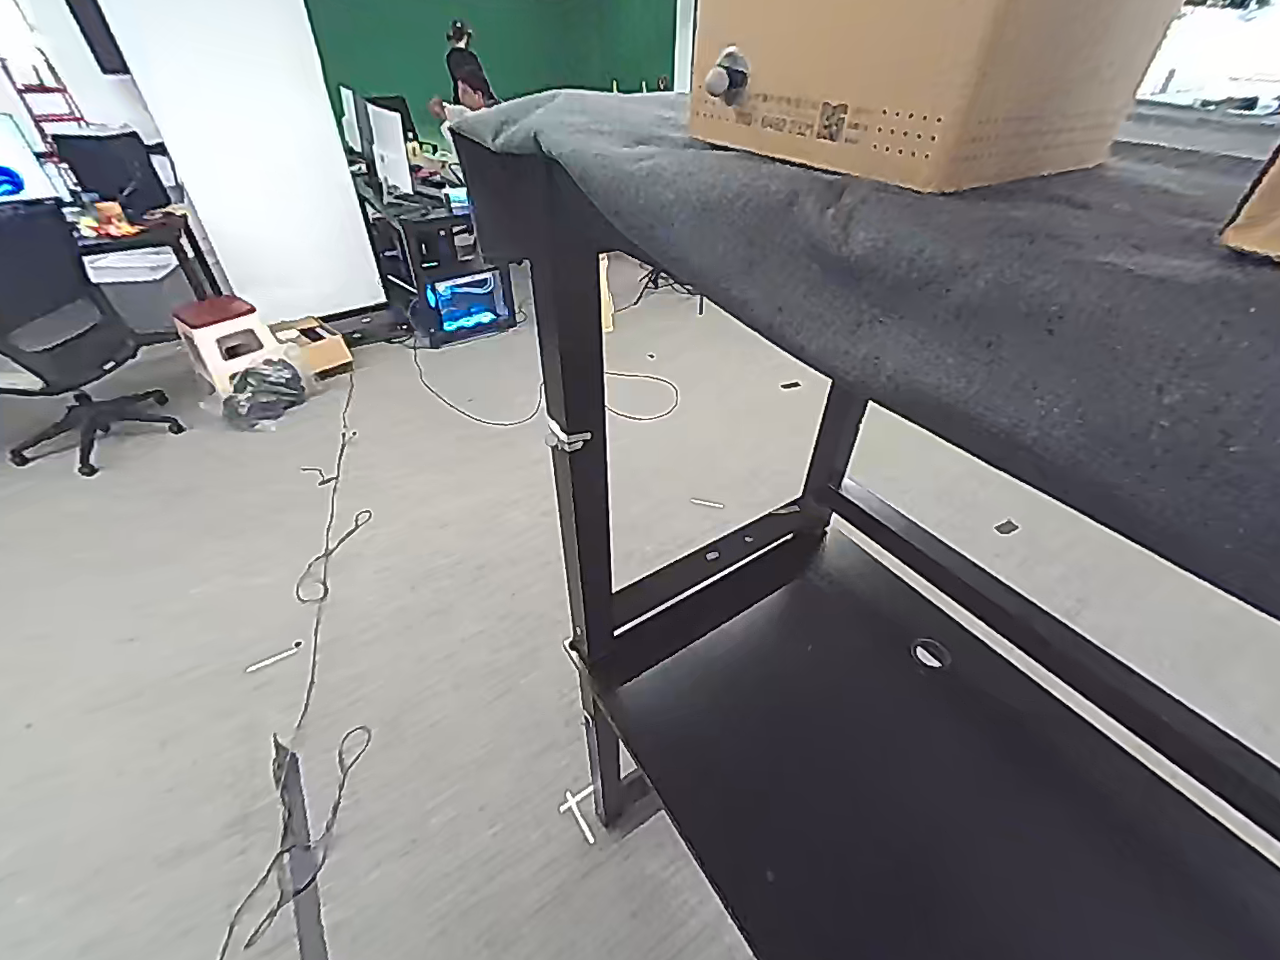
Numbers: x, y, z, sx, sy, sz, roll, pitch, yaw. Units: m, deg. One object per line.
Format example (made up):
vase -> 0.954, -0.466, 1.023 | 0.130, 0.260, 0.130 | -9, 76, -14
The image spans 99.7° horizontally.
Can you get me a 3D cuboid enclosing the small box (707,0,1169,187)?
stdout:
small box -> 0.148, -0.254, 0.266 | 0.179, 0.176, 0.168 | -23, 46, -29
